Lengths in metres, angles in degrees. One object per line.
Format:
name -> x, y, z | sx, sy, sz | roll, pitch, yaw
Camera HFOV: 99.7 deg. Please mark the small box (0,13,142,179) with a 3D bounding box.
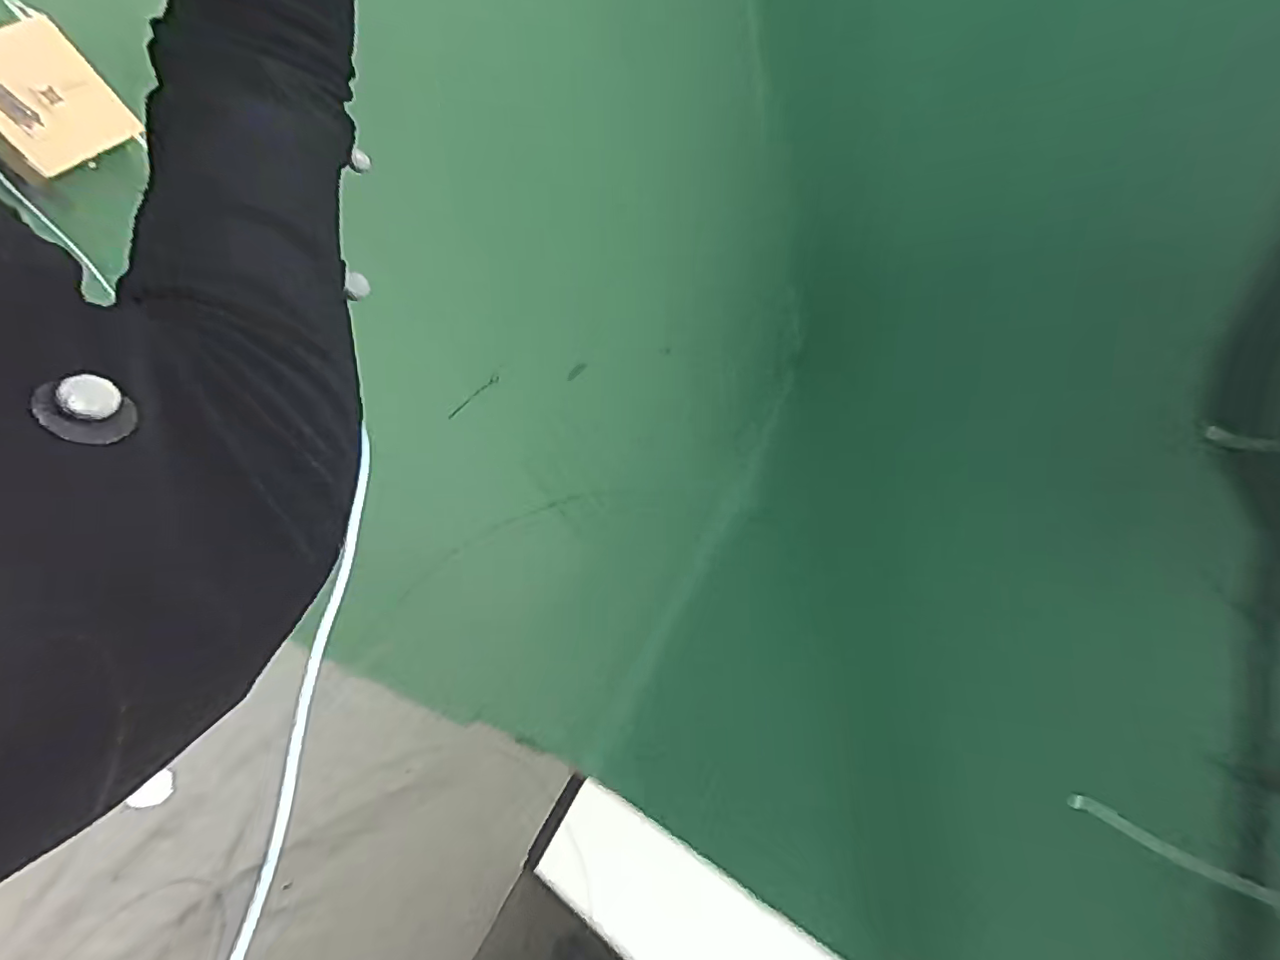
small box -> -0.990, -0.617, 0.886 | 0.179, 0.176, 0.168 | -54, 142, -26
